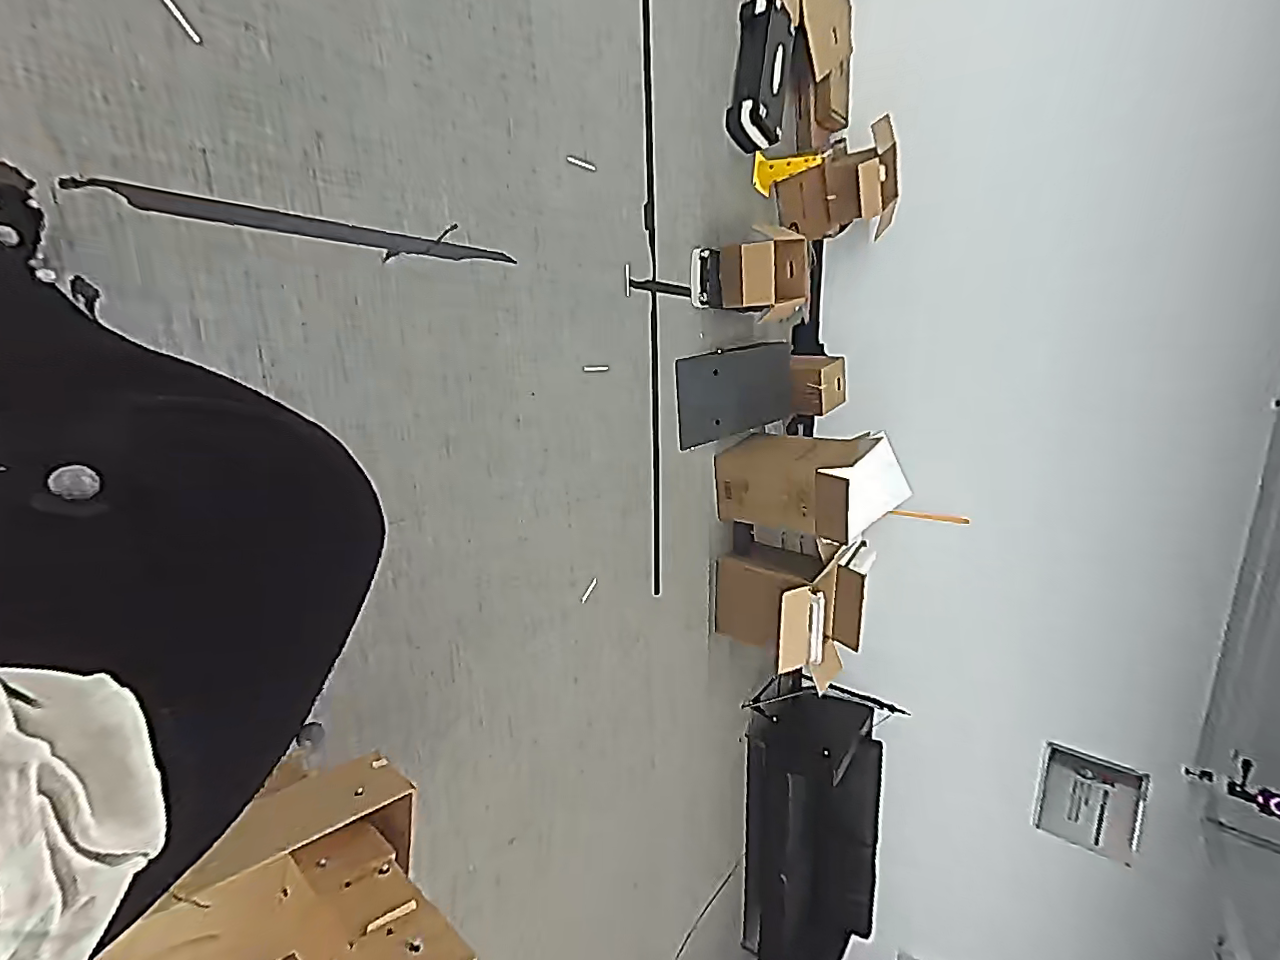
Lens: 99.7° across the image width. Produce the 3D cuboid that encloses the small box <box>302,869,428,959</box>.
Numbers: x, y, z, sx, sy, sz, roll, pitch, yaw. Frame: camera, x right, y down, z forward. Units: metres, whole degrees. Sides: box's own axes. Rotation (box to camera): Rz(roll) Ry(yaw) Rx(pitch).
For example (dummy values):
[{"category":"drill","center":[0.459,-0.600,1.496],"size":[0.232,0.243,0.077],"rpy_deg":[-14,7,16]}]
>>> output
[{"category":"small box","center":[-0.563,0.942,1.102],"size":[0.168,0.176,0.179],"rpy_deg":[10,91,-52]}]

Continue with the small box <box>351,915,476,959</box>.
[{"category":"small box","center":[-0.437,0.959,0.999],"size":[0.168,0.176,0.179],"rpy_deg":[16,85,-52]}]
